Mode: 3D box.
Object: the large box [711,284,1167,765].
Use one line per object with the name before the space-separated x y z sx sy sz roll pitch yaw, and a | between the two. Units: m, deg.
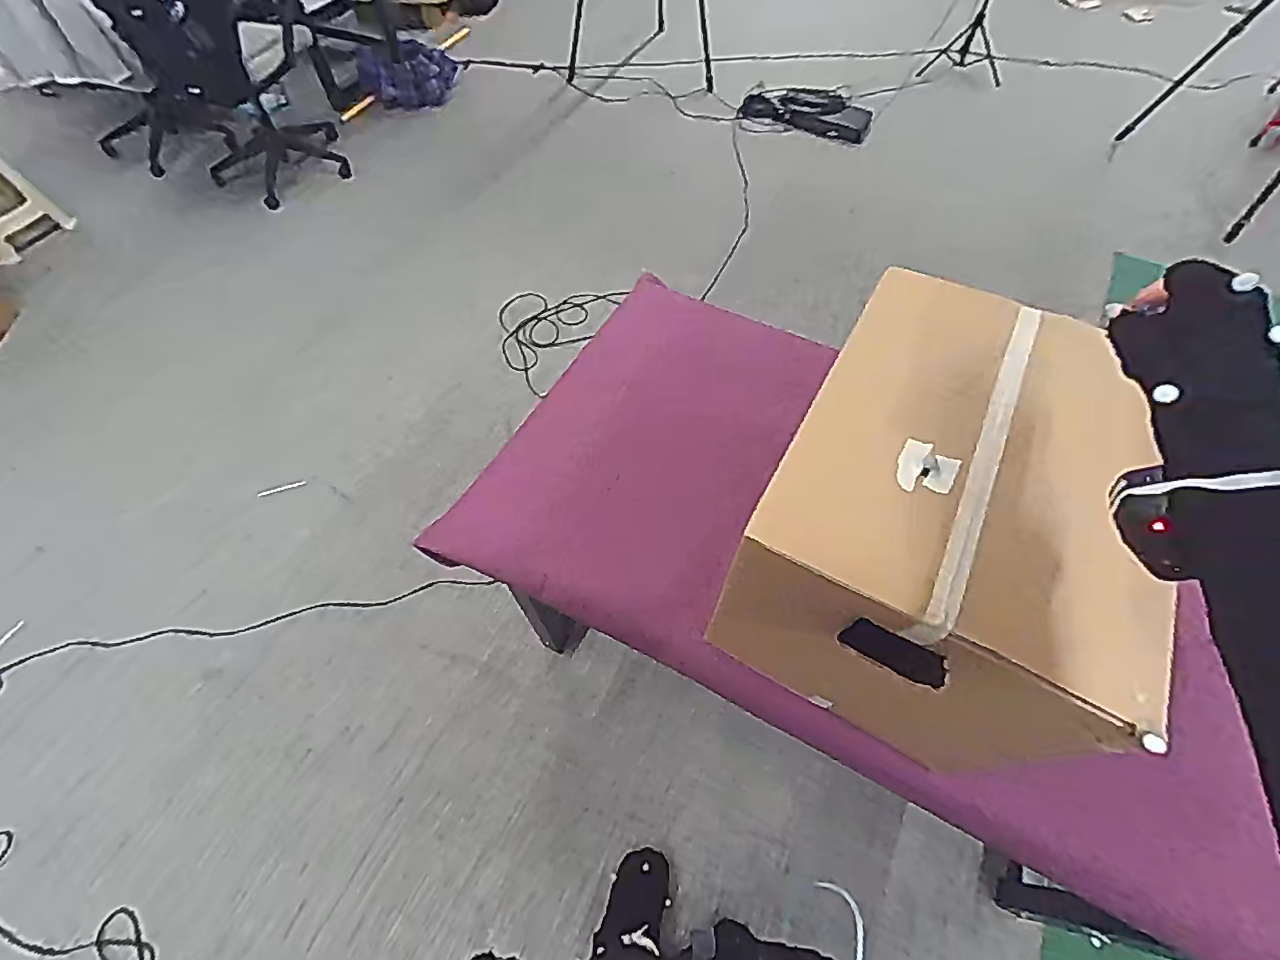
large box | 0.319 0.054 0.640 0.320 0.320 0.408 26 62 16
